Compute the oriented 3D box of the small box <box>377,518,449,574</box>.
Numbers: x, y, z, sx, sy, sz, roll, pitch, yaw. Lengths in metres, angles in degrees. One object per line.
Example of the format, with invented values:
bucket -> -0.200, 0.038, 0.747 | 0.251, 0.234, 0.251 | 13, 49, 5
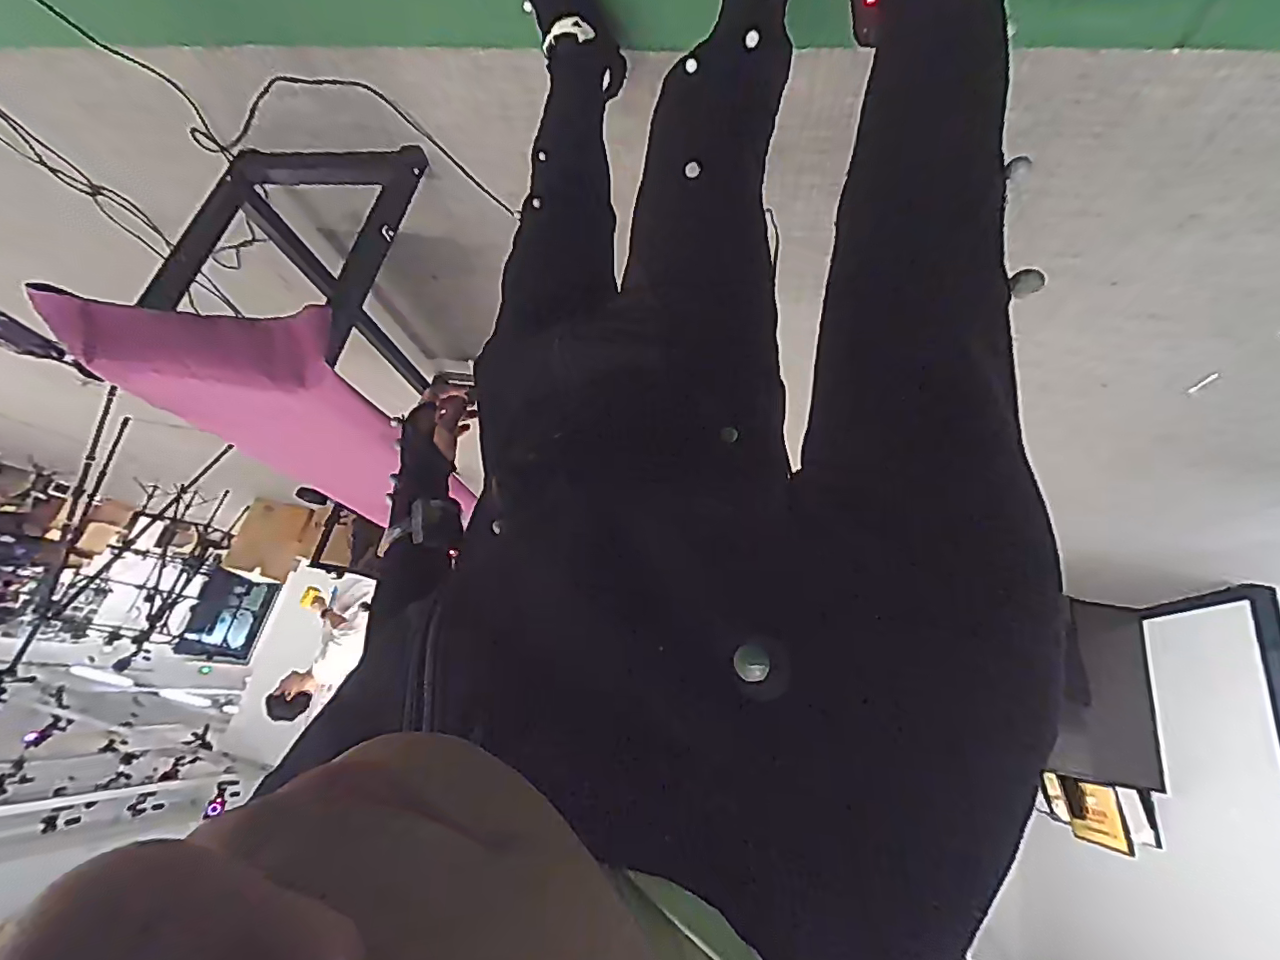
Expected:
small box -> -0.864, 0.252, 2.073 | 0.168, 0.176, 0.179 | 8, 160, 10
